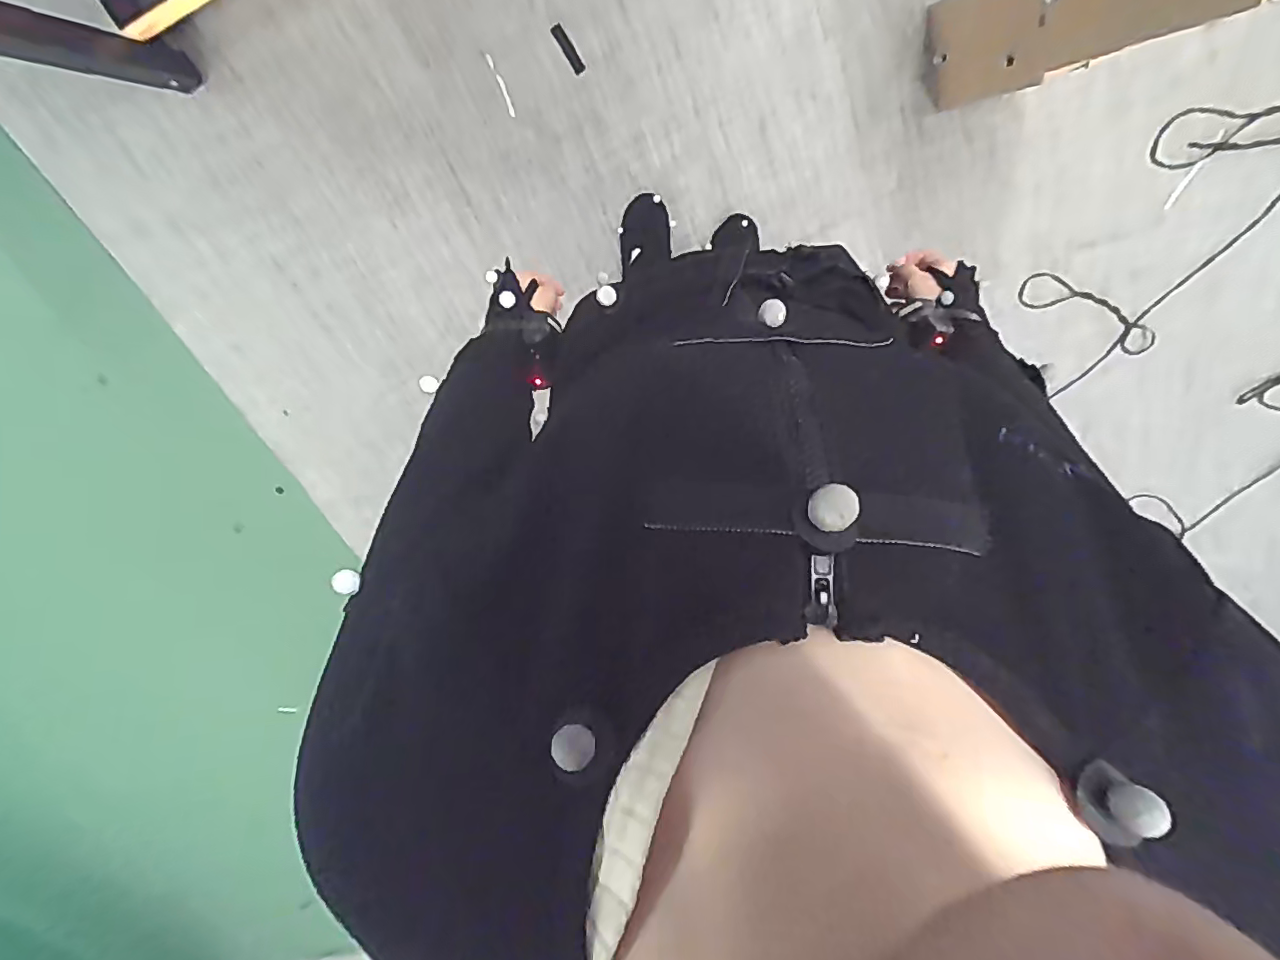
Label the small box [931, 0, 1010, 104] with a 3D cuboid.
[{"bbox_3d":[0.626,-0.774,0.929,0.168,0.176,0.179,-17,118,10],"label":"small box"}]

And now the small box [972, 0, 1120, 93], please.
[{"bbox_3d":[0.615,-0.698,0.787,0.168,0.176,0.179,-20,115,12],"label":"small box"}]

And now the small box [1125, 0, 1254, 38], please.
[{"bbox_3d":[0.593,-0.551,0.493,0.179,0.176,0.168,-21,116,11],"label":"small box"}]

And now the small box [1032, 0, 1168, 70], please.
[{"bbox_3d":[0.606,-0.626,0.639,0.179,0.176,0.168,-18,116,12],"label":"small box"}]
